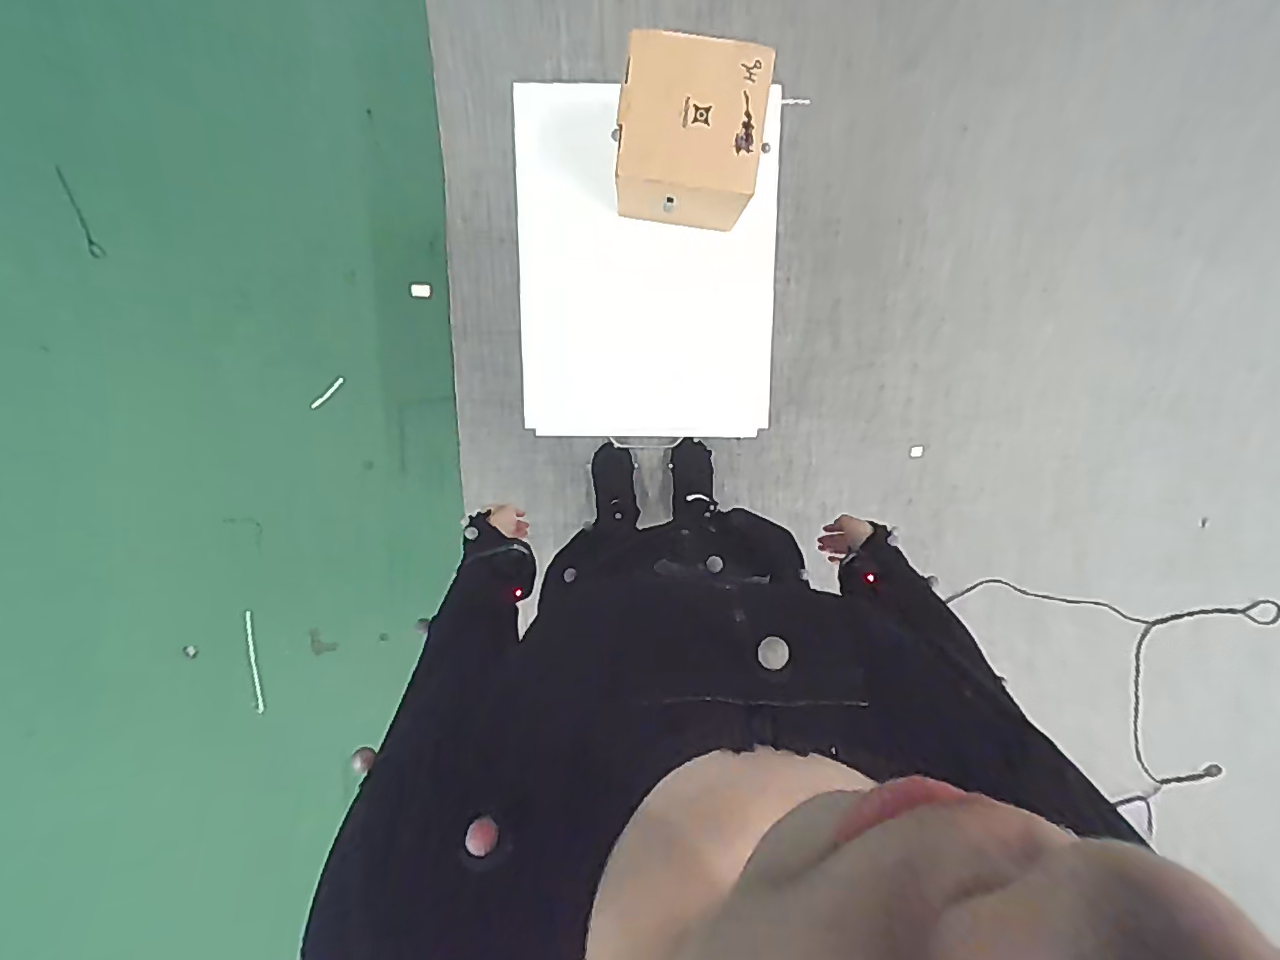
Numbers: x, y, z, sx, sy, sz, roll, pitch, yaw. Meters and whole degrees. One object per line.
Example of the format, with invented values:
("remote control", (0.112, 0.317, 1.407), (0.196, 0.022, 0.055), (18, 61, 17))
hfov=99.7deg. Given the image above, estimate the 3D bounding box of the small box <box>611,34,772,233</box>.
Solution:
("small box", (0.061, -0.451, 0.732), (0.179, 0.176, 0.168), (7, 99, -1))
